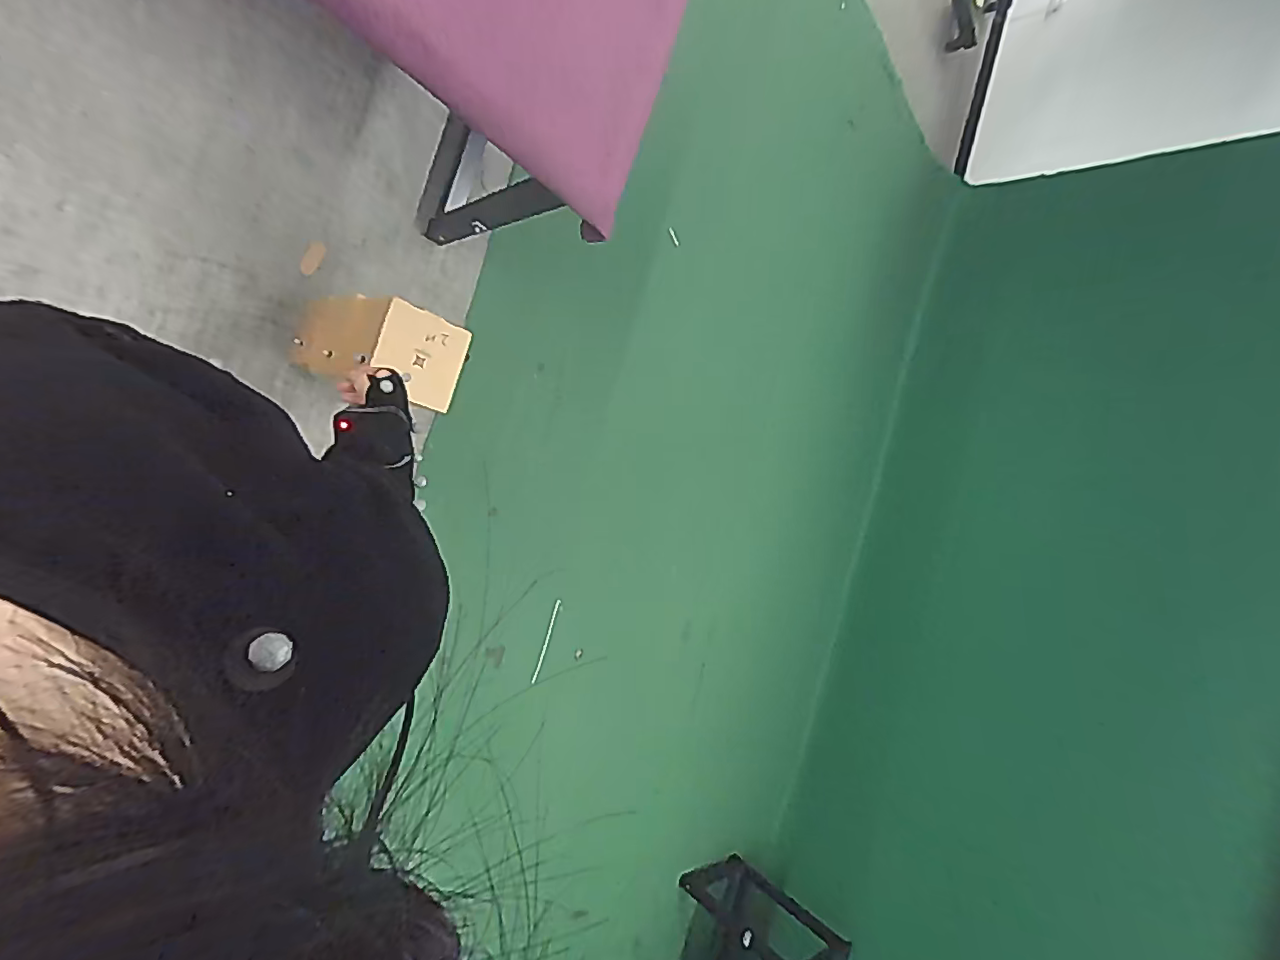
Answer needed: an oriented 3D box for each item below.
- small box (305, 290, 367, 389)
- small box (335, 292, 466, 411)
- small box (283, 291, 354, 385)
[{"bbox_3d":[-0.606,-0.298,1.187,0.168,0.176,0.179,19,88,-46],"label":"small box"},{"bbox_3d":[-0.484,-0.254,1.083,0.168,0.176,0.179,20,87,-47],"label":"small box"},{"bbox_3d":[-0.722,-0.329,1.295,0.179,0.176,0.168,23,84,-46],"label":"small box"}]
